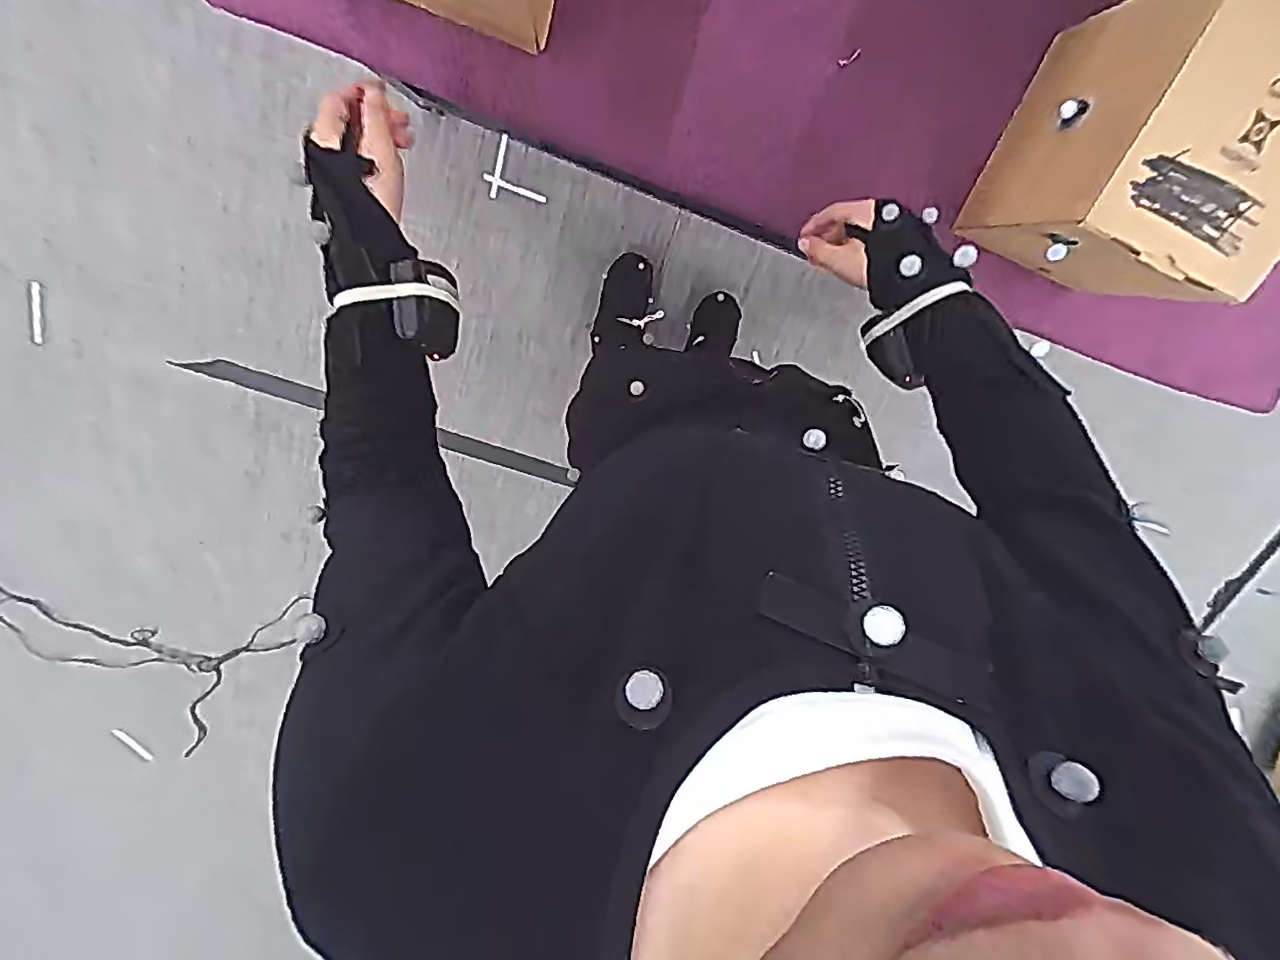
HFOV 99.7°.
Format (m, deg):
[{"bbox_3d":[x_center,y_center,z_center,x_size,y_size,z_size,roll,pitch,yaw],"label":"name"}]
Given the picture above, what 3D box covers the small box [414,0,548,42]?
[{"bbox_3d":[-0.140,-0.433,0.353,0.179,0.176,0.168,13,111,-13],"label":"small box"}]
